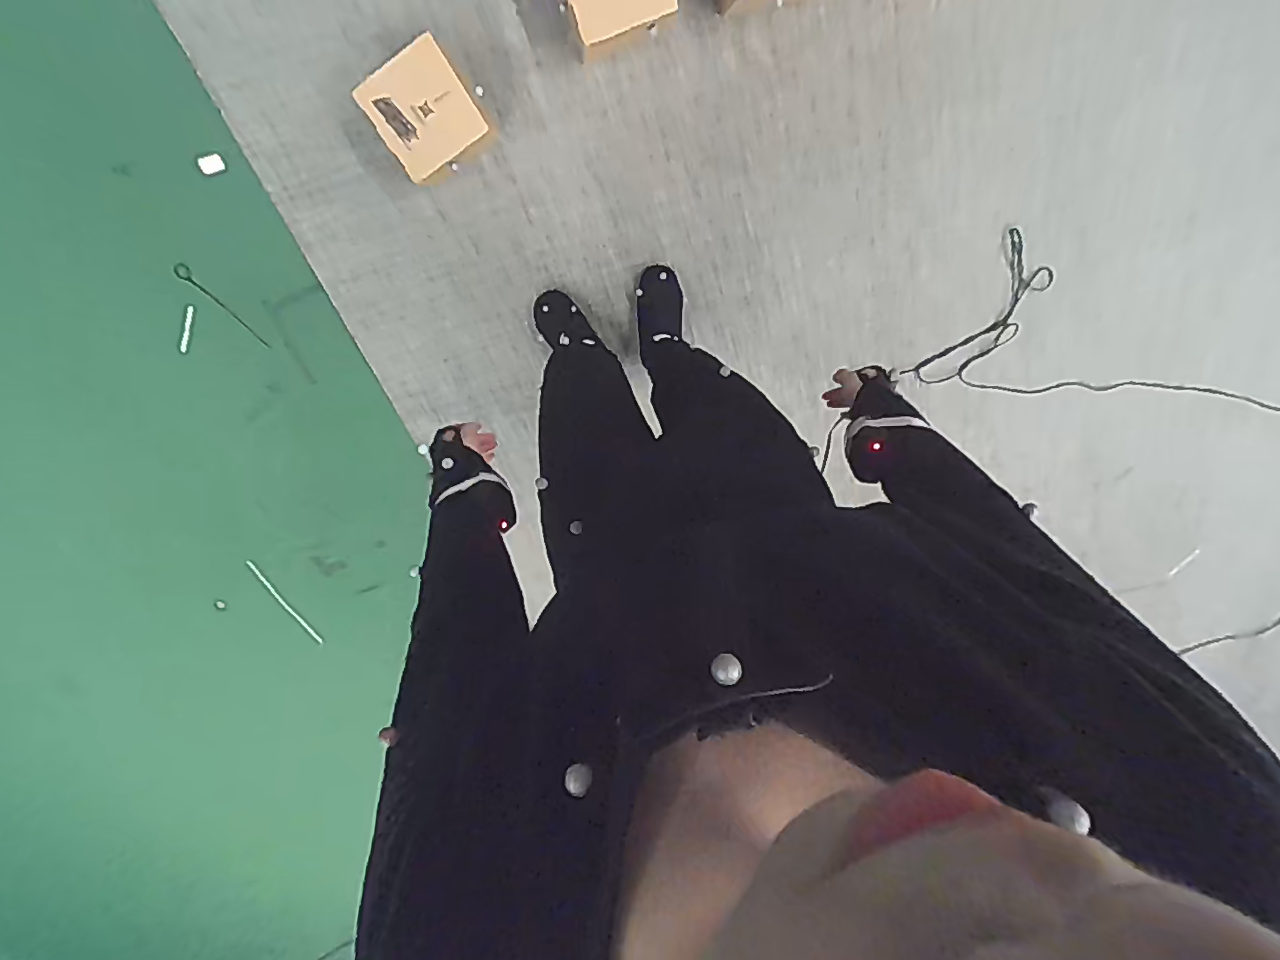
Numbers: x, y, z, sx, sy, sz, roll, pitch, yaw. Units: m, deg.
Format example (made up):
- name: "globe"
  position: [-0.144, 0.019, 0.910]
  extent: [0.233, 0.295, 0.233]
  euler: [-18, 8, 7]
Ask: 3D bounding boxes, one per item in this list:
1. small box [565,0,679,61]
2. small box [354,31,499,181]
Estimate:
- name: "small box"
  position: [-0.046, -0.877, 0.954]
  extent: [0.179, 0.176, 0.168]
  euler: [-17, 119, 5]
- name: "small box"
  position: [-0.392, -0.694, 1.028]
  extent: [0.179, 0.176, 0.168]
  euler: [-29, 118, 10]
